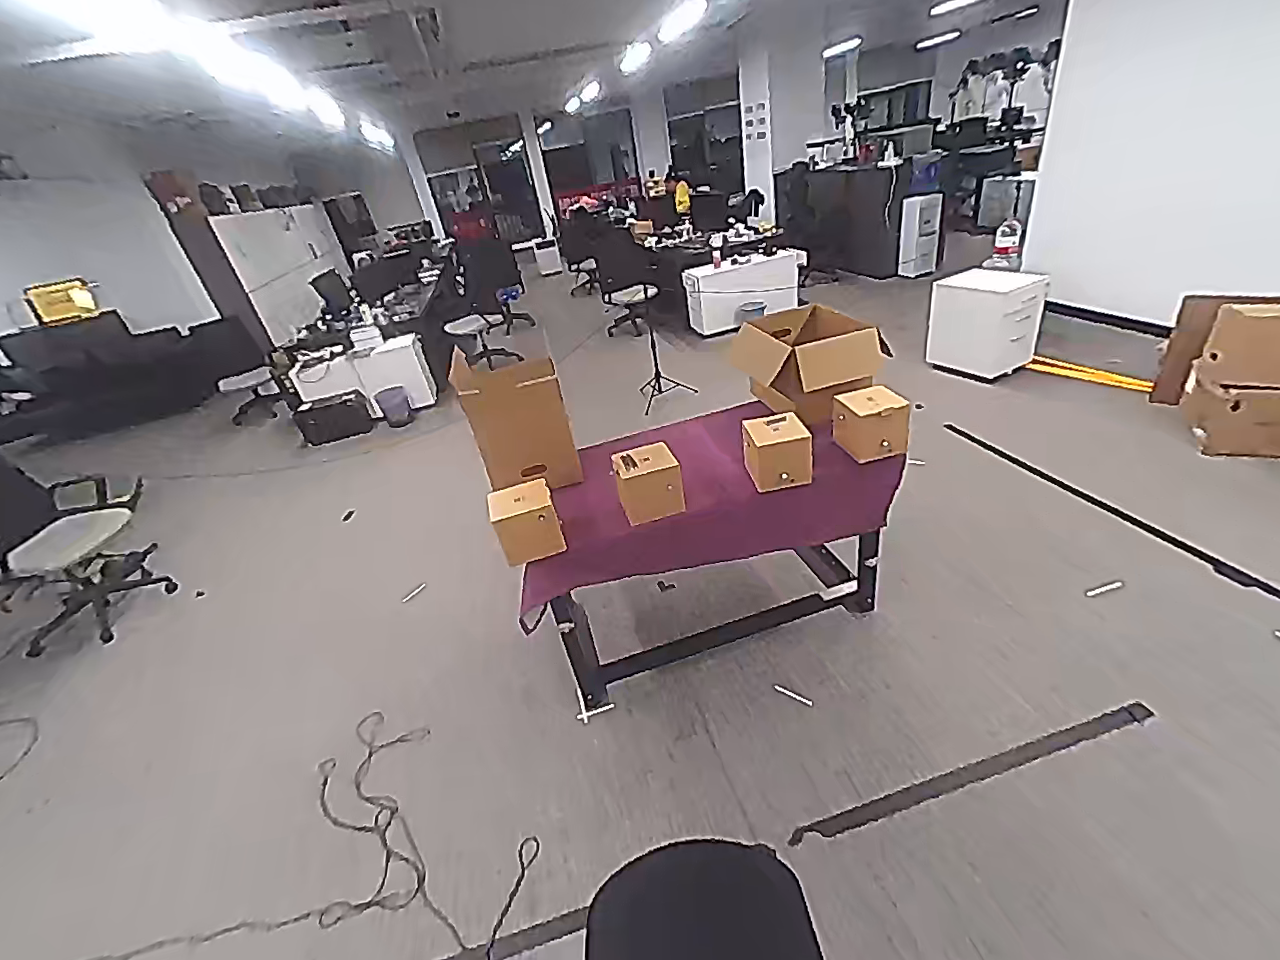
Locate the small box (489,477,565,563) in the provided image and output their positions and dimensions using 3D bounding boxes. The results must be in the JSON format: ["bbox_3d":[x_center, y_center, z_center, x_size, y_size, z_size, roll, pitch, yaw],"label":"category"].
[{"bbox_3d":[-0.332,0.118,1.588,0.179,0.176,0.168,-16,31,-10],"label":"small box"}]

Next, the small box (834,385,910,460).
[{"bbox_3d":[0.736,-0.184,1.734,0.168,0.176,0.179,-14,31,-2],"label":"small box"}]
